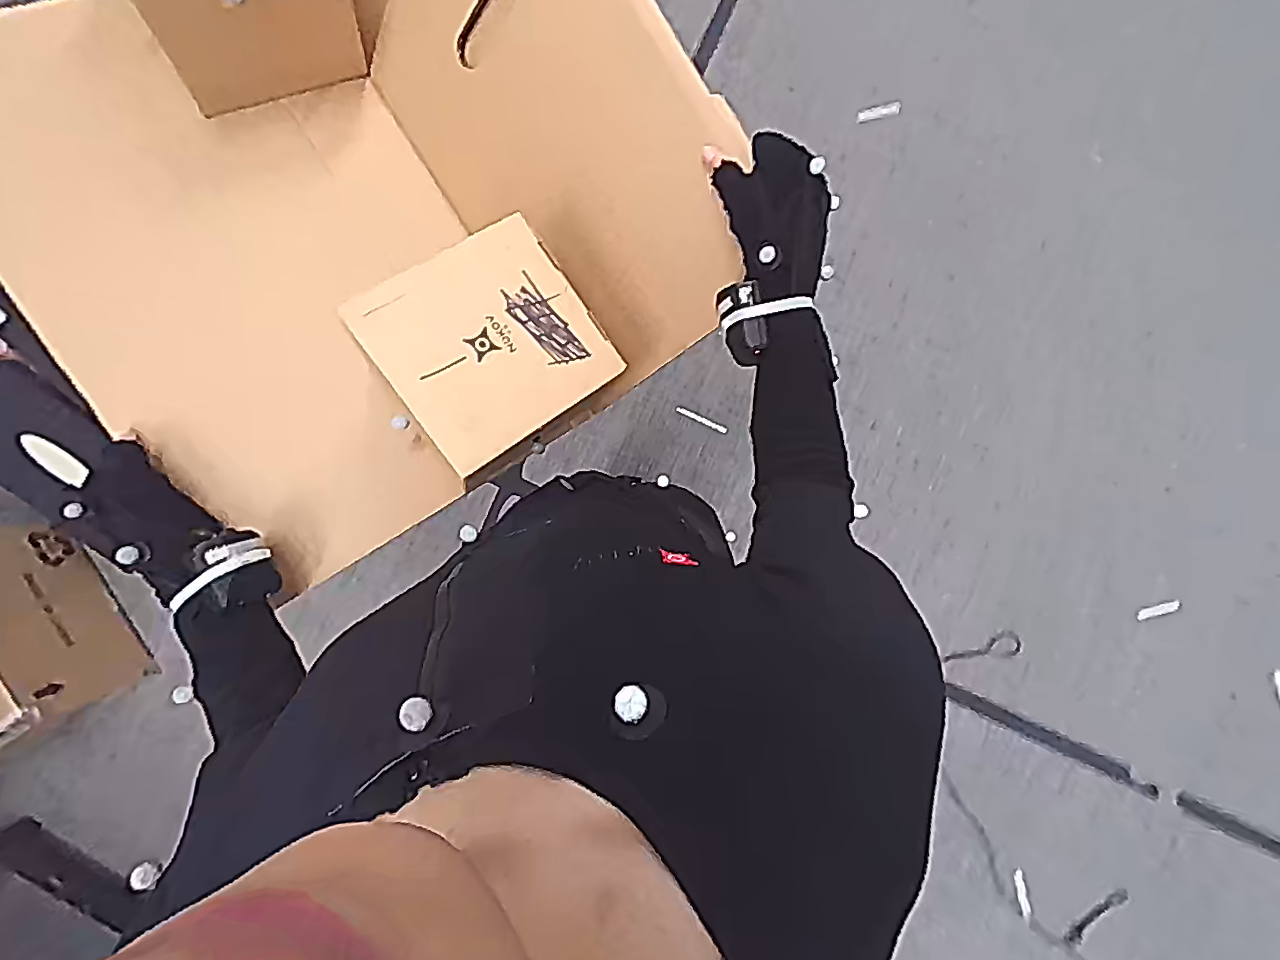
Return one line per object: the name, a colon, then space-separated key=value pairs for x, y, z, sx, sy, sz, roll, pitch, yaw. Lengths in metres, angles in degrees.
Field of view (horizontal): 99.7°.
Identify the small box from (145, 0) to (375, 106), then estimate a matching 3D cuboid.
small box: x=-0.374 y=-0.489 z=0.494 sx=0.179 sy=0.176 sz=0.168 roll=-29 pitch=94 yaw=-18
